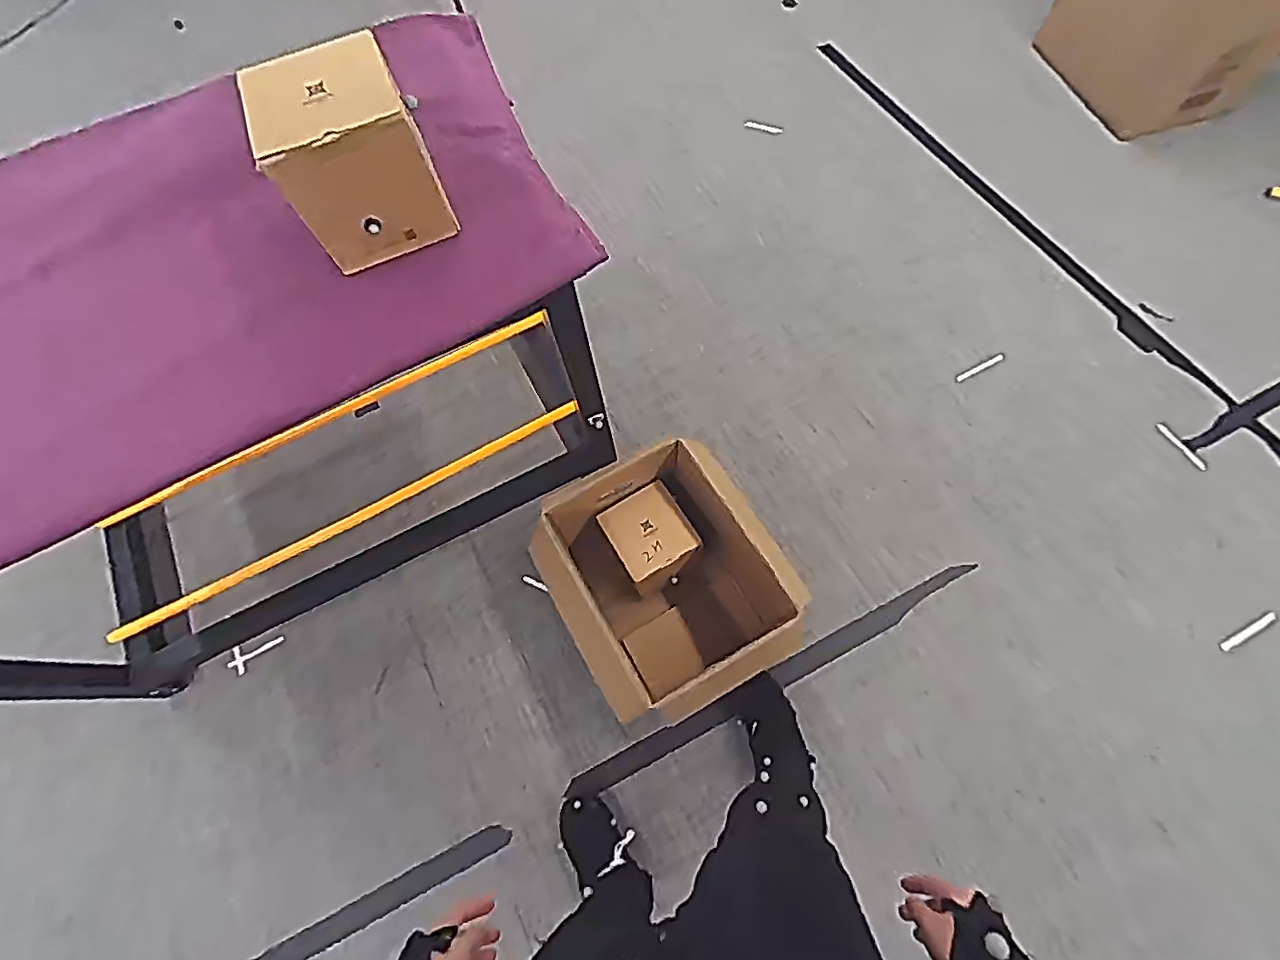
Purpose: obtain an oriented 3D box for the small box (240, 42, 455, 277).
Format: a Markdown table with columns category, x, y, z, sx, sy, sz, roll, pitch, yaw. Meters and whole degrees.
| category | x | y | z | sx | sy | sz | roll | pitch | yaw |
| --- | --- | --- | --- | --- | --- | --- | --- | --- | --- |
| small box | -0.364 | -0.401 | 0.692 | 0.168 | 0.176 | 0.179 | -24 | 68 | -5 |
